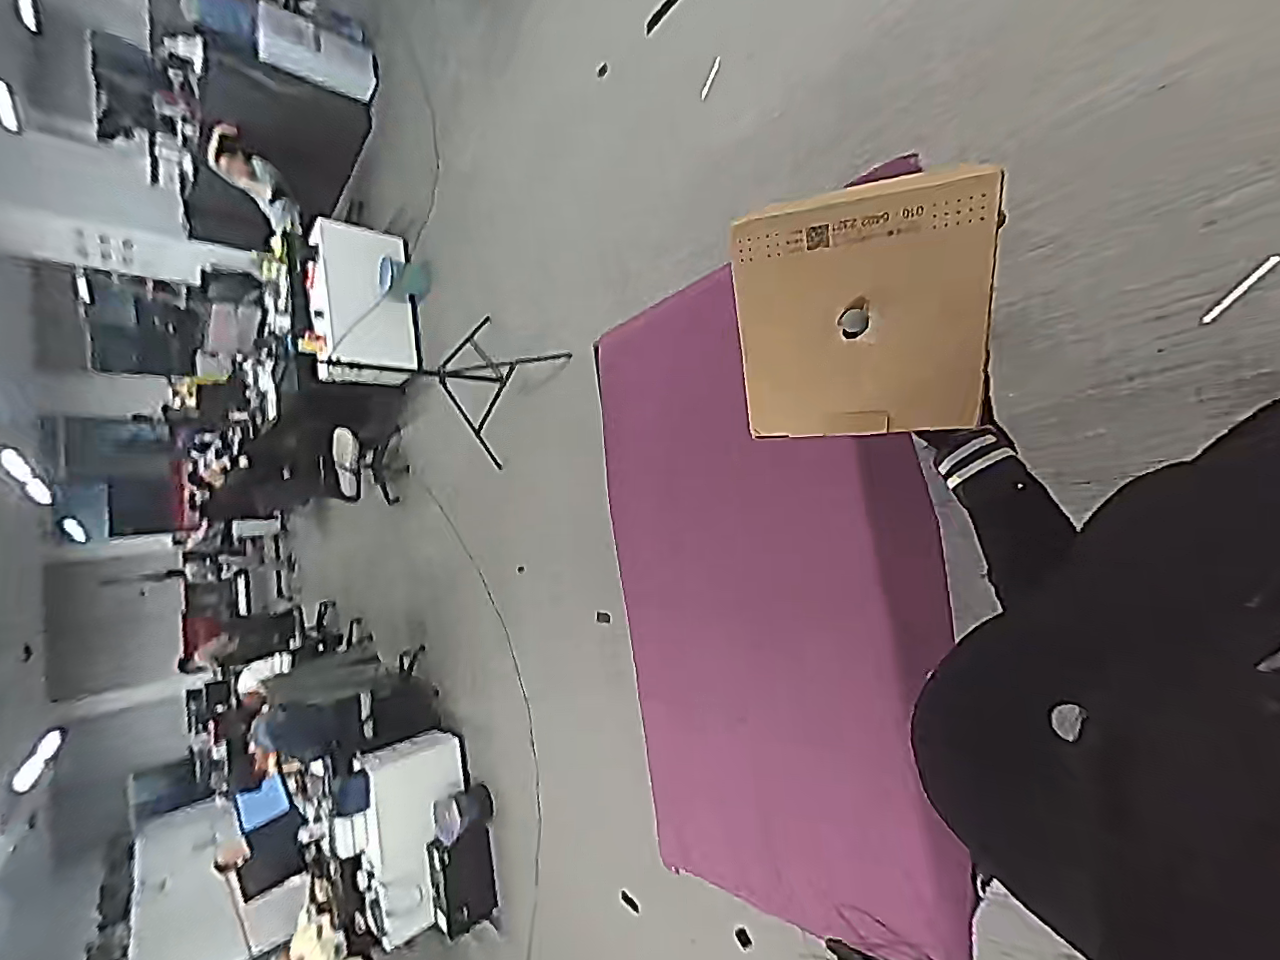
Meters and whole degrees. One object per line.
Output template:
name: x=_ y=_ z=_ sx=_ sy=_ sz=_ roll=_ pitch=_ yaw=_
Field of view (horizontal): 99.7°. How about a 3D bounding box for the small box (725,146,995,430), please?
small box: x=0.174 y=-0.154 z=0.433 sx=0.168 sy=0.179 sz=0.176 roll=0 pitch=119 yaw=25
